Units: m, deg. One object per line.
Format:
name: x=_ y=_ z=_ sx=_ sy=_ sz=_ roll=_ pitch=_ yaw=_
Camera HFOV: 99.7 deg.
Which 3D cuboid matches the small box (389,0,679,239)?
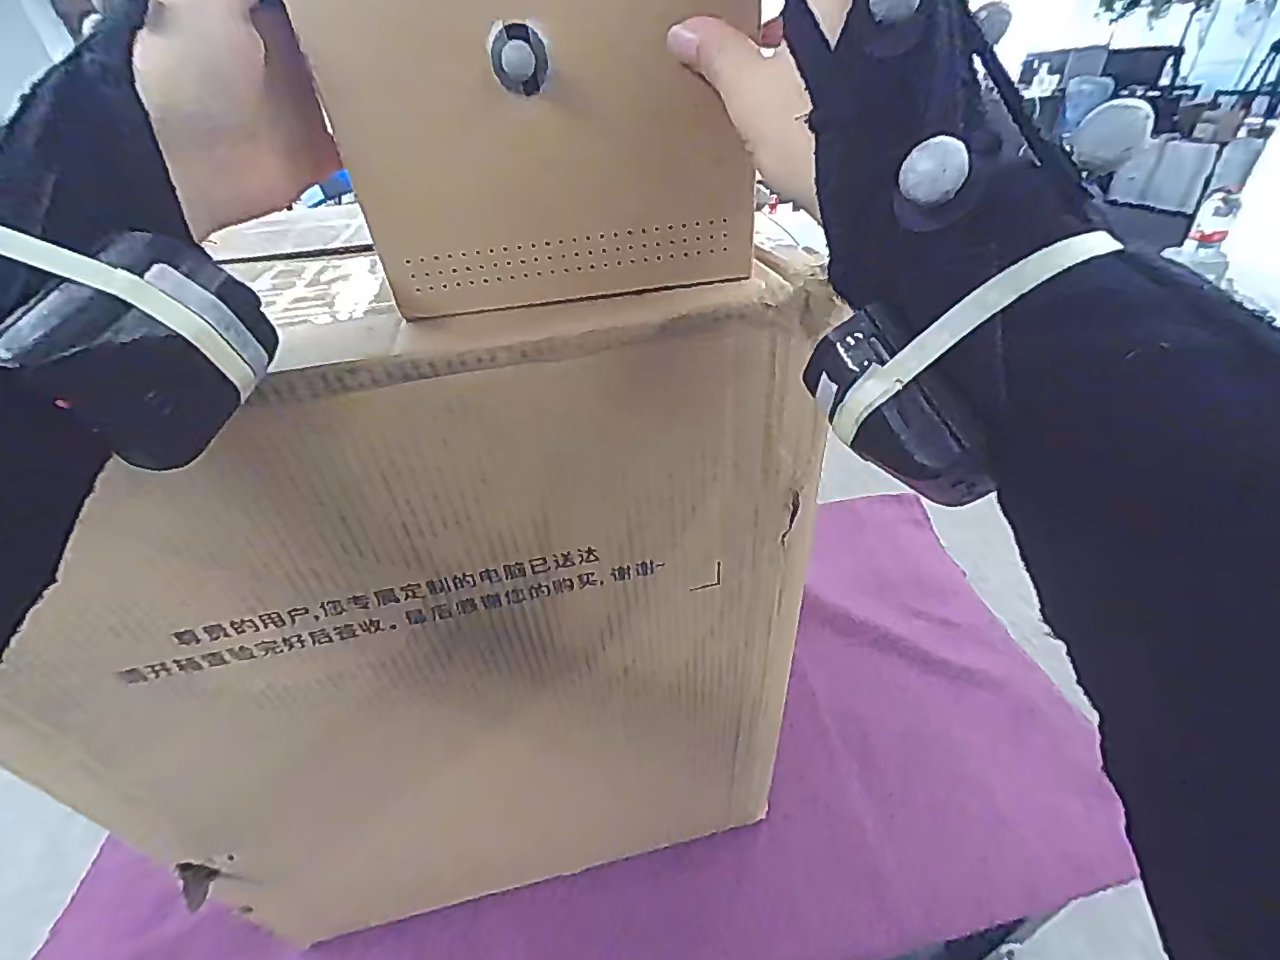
small box: x=-0.075 y=-0.297 z=0.421 sx=0.179 sy=0.176 sz=0.168 roll=-10 pitch=36 yaw=-7
